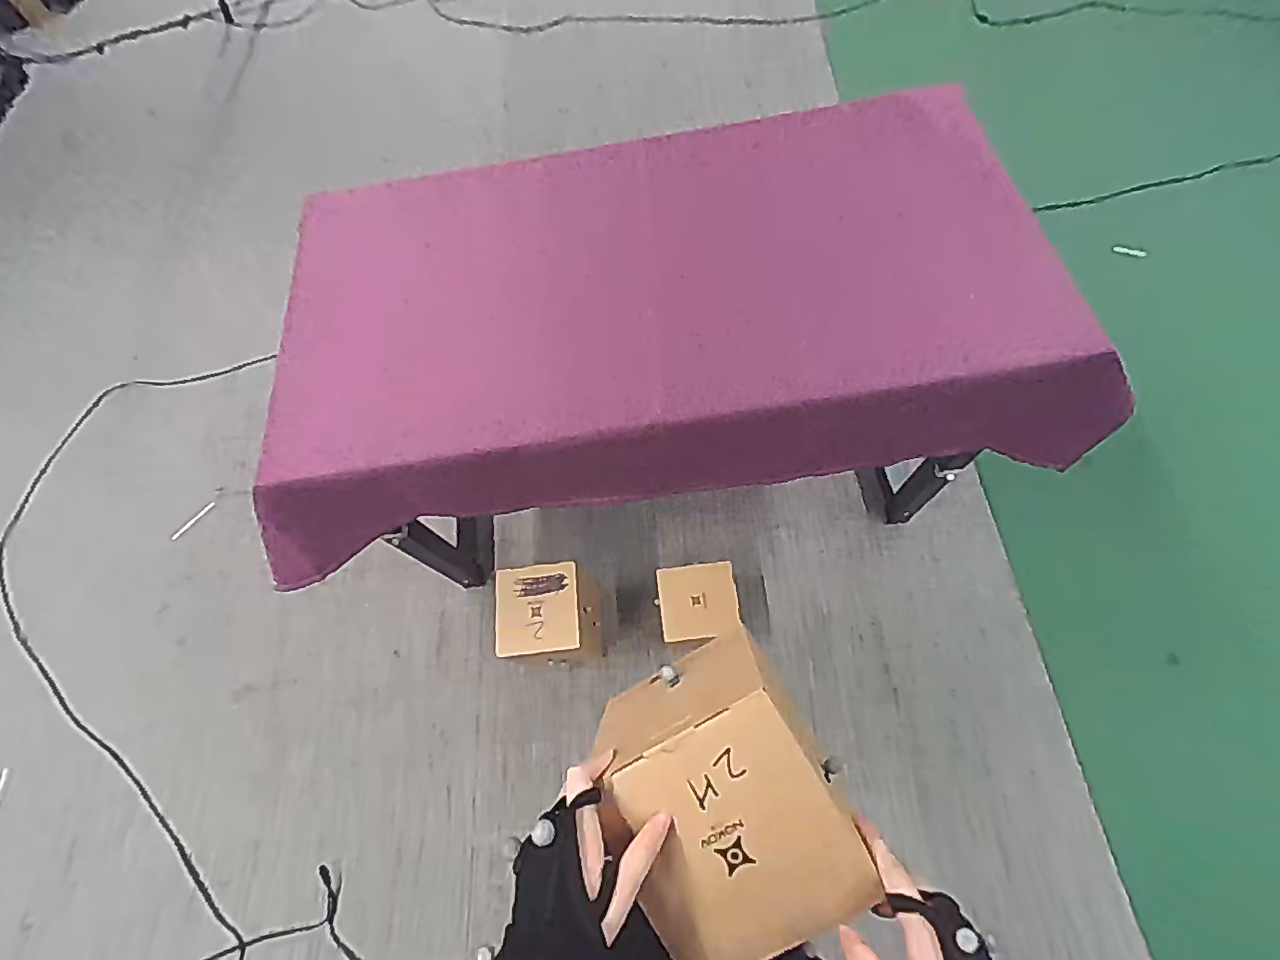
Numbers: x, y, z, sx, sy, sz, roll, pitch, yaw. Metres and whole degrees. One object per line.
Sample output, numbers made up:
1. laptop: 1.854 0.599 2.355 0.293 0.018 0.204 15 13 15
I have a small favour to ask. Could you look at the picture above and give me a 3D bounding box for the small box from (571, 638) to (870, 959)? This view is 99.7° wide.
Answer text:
1. small box: 0.067 0.273 0.484 0.168 0.176 0.179 -32 87 5
